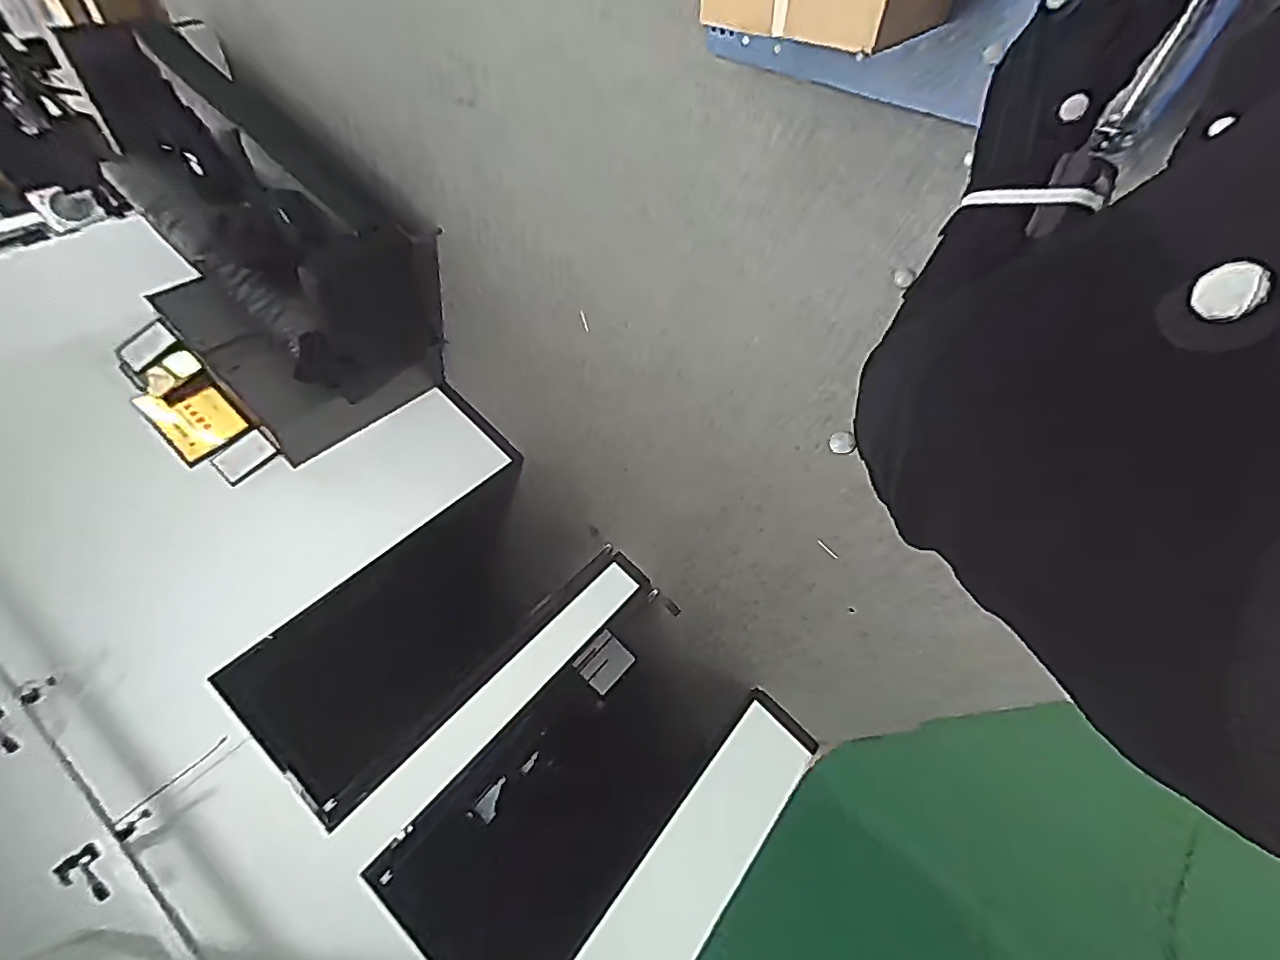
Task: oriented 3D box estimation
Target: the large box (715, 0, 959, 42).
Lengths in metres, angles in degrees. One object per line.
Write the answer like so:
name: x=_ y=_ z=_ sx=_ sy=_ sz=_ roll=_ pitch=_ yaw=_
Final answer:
large box: x=0.335 y=-0.922 z=0.768 sx=0.320 sy=0.320 sz=0.408 roll=33 pitch=147 yaw=25
